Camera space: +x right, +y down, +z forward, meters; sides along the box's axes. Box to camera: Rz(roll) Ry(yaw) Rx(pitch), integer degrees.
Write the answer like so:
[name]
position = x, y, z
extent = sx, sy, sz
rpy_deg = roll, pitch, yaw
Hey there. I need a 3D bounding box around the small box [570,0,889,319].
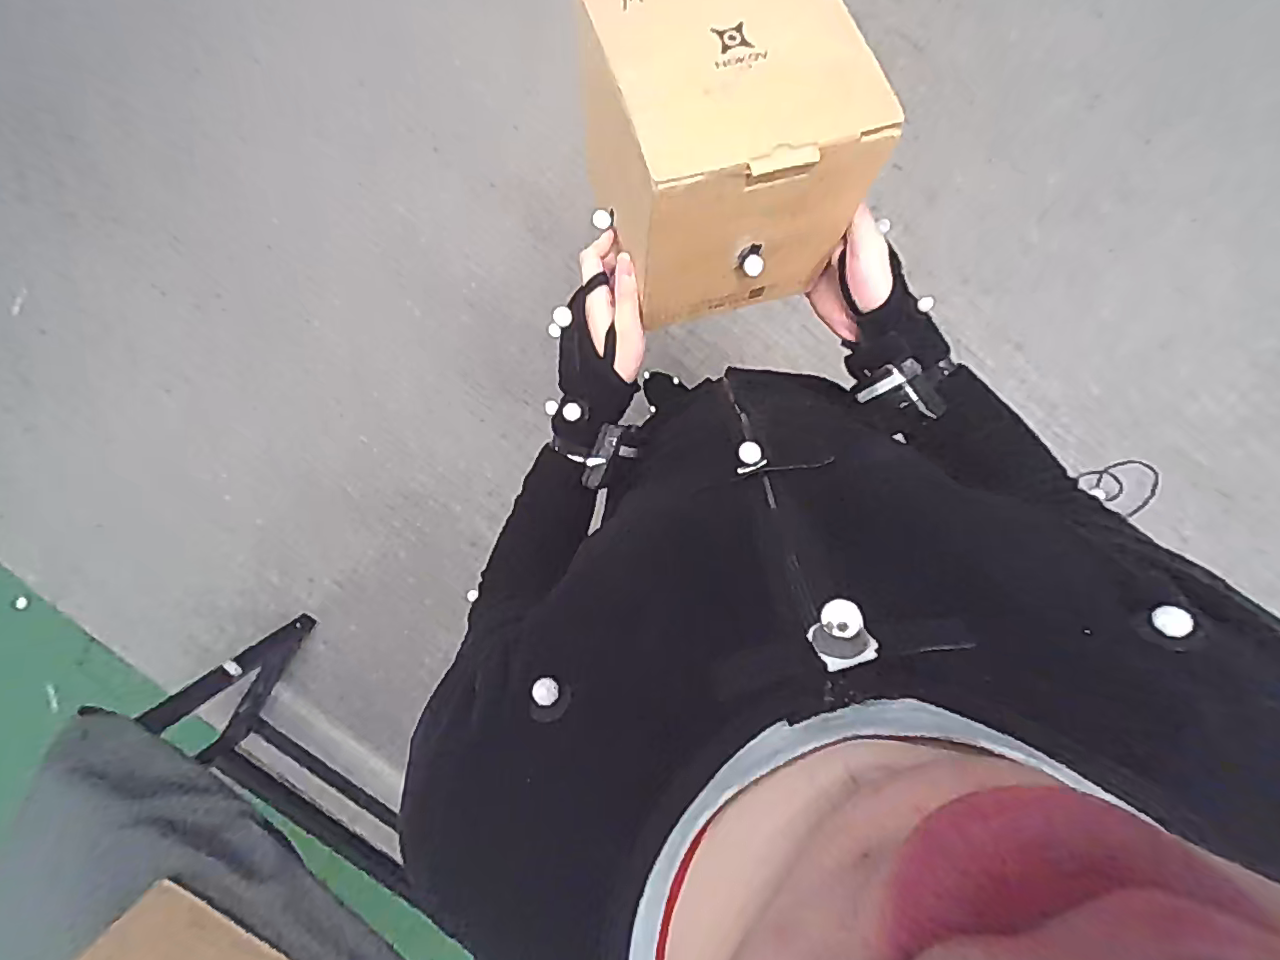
[small box]
position = 0.051, -0.245, 0.419
extent = 0.168, 0.176, 0.179
rpy_deg = -15, 77, -7
